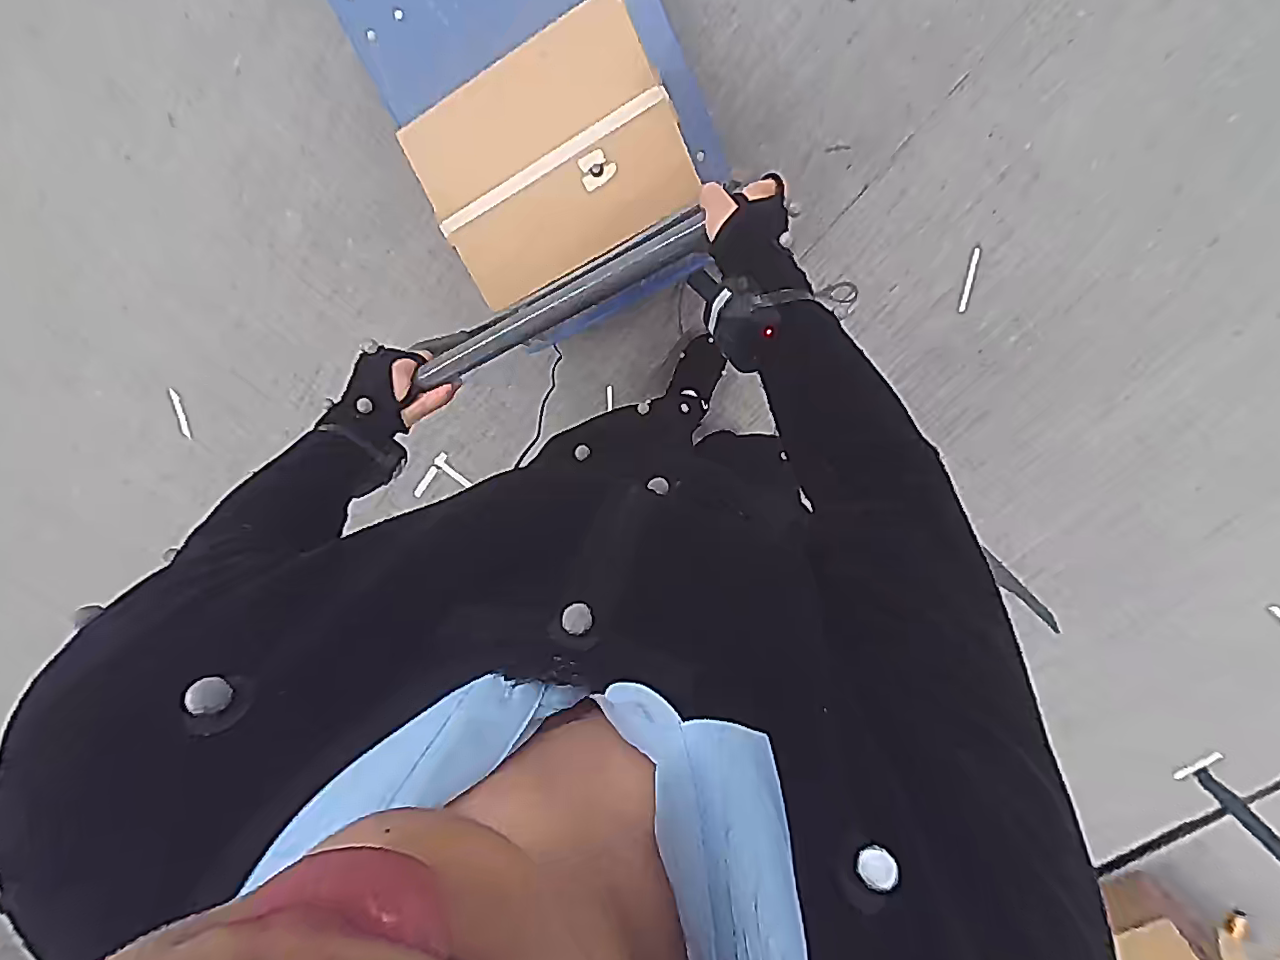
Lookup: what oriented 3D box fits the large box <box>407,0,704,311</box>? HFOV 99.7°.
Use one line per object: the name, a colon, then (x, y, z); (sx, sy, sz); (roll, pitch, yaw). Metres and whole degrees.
large box: (-0.124, -0.546, 1.000); (0.408, 0.320, 0.320); (-24, 104, 13)
